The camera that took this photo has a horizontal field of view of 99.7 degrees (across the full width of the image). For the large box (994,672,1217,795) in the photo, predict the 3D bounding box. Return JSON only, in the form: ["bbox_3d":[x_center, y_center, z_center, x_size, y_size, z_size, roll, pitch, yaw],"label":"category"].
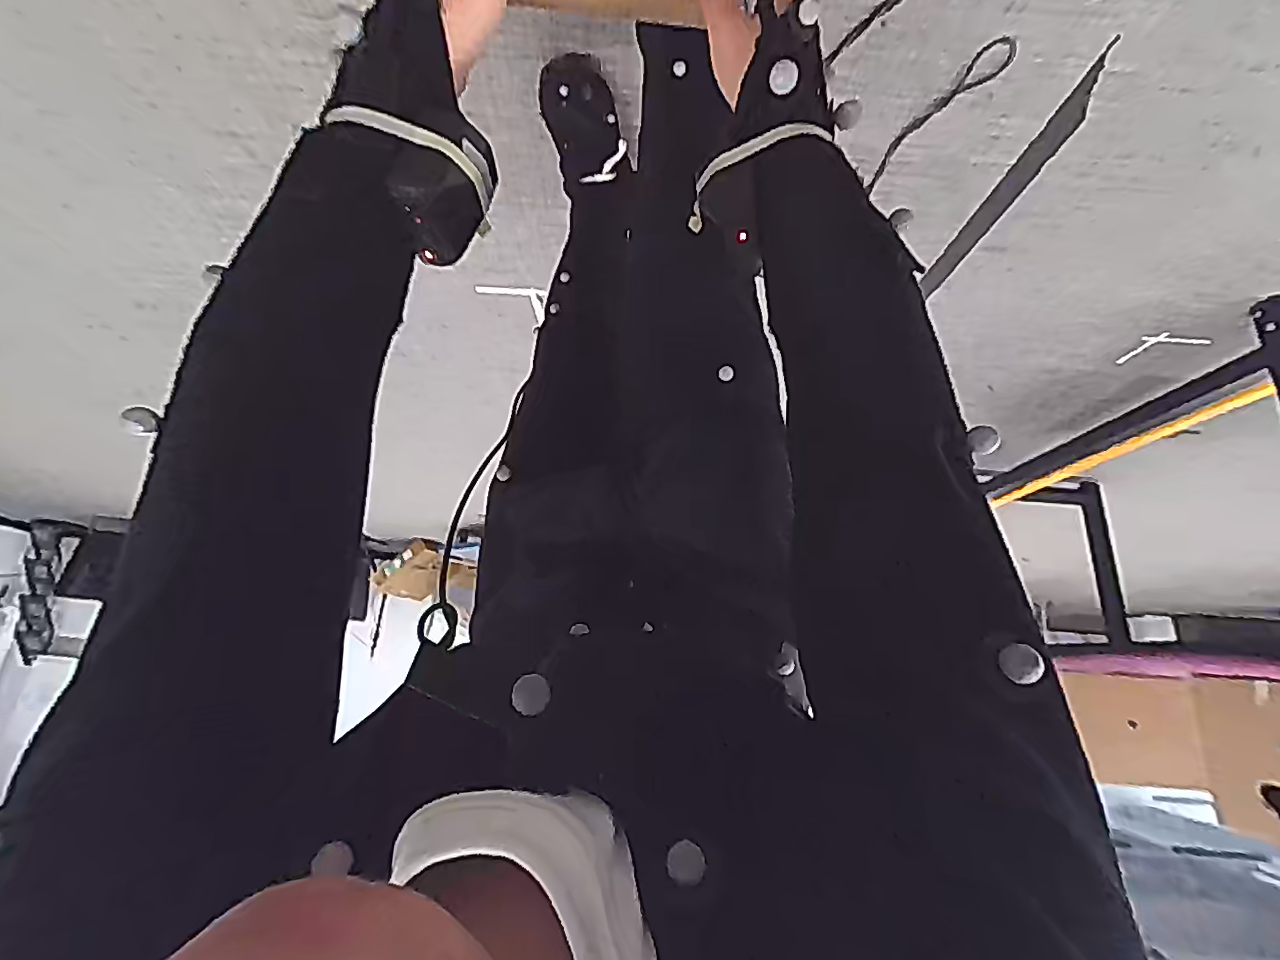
[{"bbox_3d":[1.431,0.781,1.710,0.408,0.320,0.320,3,162,0],"label":"large box"}]
